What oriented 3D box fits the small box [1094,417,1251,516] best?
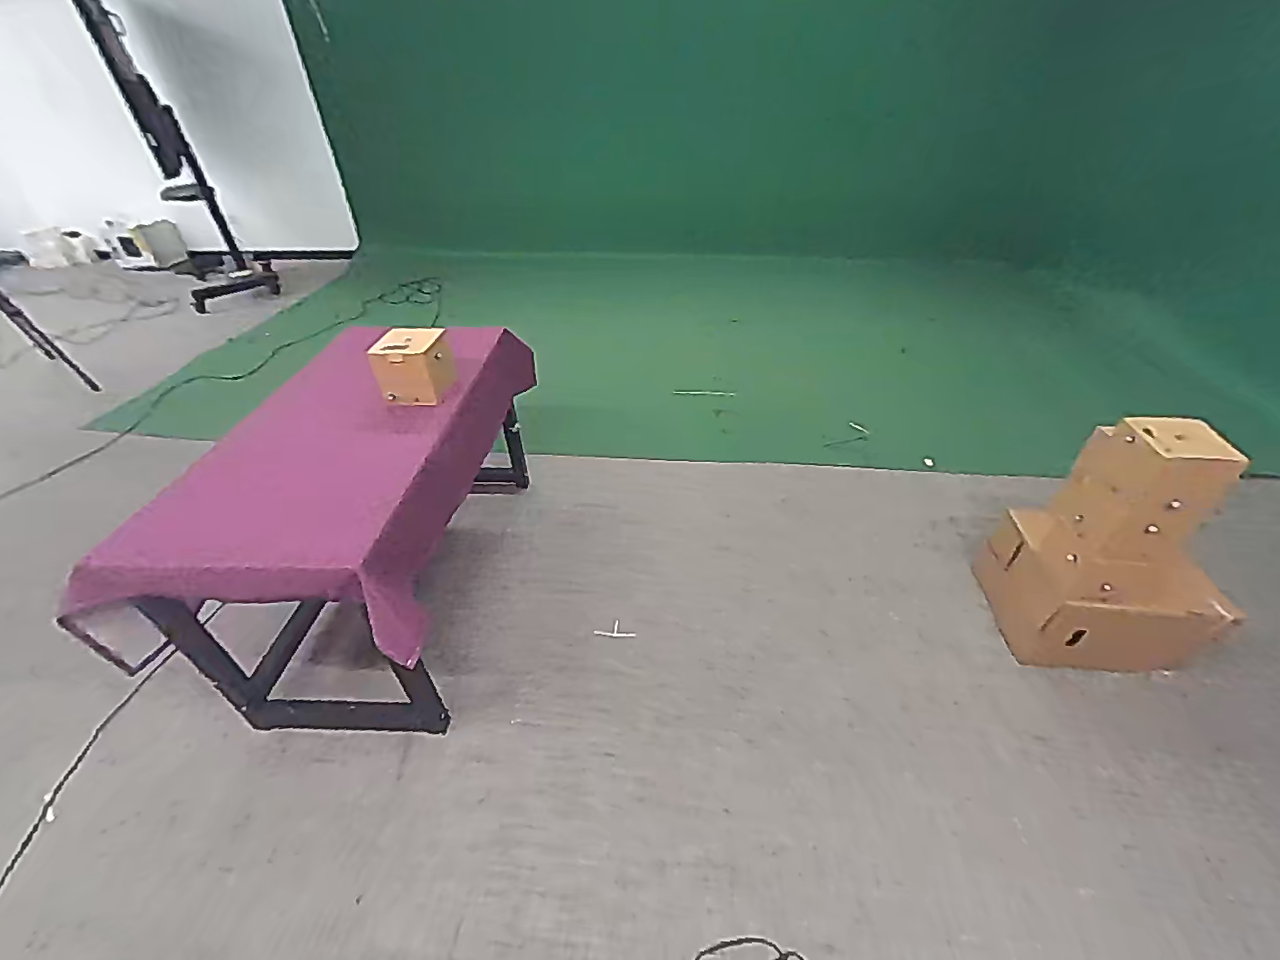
[{"bbox_3d":[1.251,-0.031,1.289,0.179,0.176,0.168,4,39,6],"label":"small box"}]

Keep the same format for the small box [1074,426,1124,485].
[{"bbox_3d":[1.418,-0.036,1.558,0.168,0.176,0.179,3,38,2],"label":"small box"}]

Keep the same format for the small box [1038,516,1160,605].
[{"bbox_3d":[1.254,0.223,1.495,0.168,0.176,0.179,4,39,6],"label":"small box"}]

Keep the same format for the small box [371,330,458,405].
[{"bbox_3d":[-0.661,-0.334,1.612,0.168,0.176,0.179,2,38,5],"label":"small box"}]
